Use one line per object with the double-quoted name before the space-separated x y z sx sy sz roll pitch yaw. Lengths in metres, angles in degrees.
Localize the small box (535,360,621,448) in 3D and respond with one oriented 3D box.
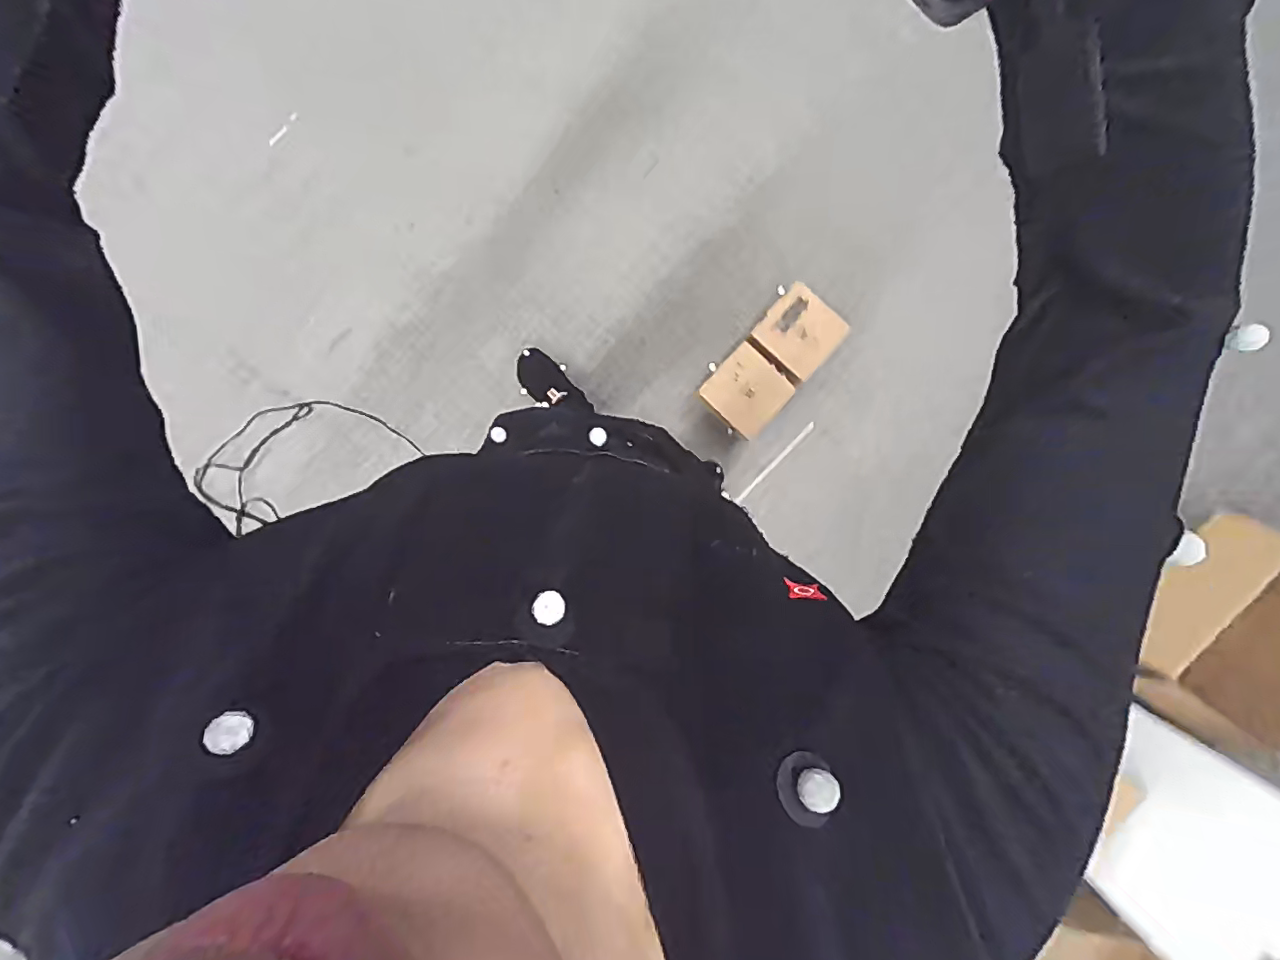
"small box" -0.162 -0.196 1.394 0.168 0.176 0.179 -22 101 -9
